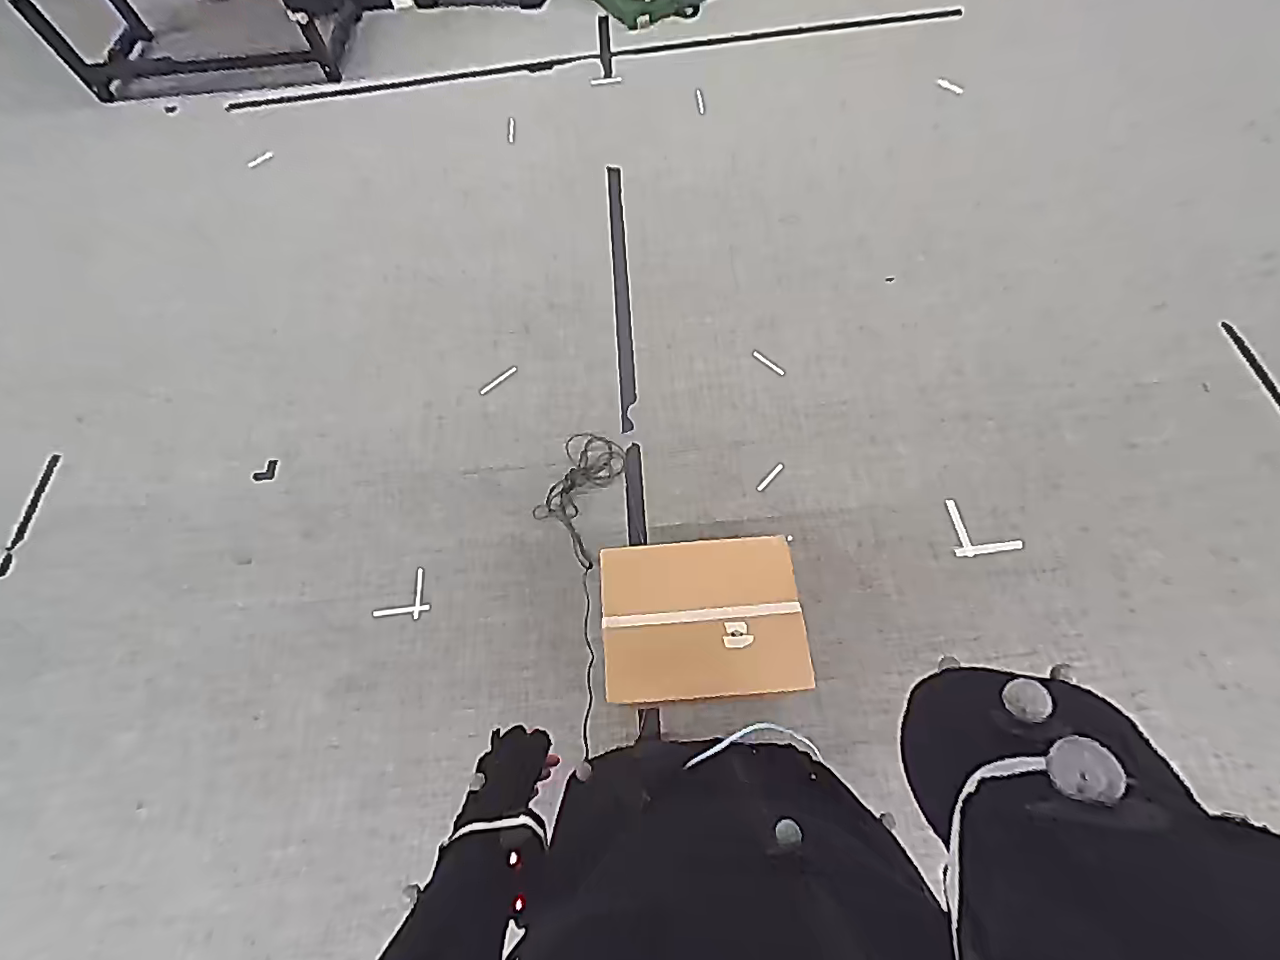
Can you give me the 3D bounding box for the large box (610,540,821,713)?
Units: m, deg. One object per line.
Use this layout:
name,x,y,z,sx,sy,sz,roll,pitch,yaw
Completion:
large box,0.147,0.347,1.238,0.408,0.320,0.320,-4,65,1
